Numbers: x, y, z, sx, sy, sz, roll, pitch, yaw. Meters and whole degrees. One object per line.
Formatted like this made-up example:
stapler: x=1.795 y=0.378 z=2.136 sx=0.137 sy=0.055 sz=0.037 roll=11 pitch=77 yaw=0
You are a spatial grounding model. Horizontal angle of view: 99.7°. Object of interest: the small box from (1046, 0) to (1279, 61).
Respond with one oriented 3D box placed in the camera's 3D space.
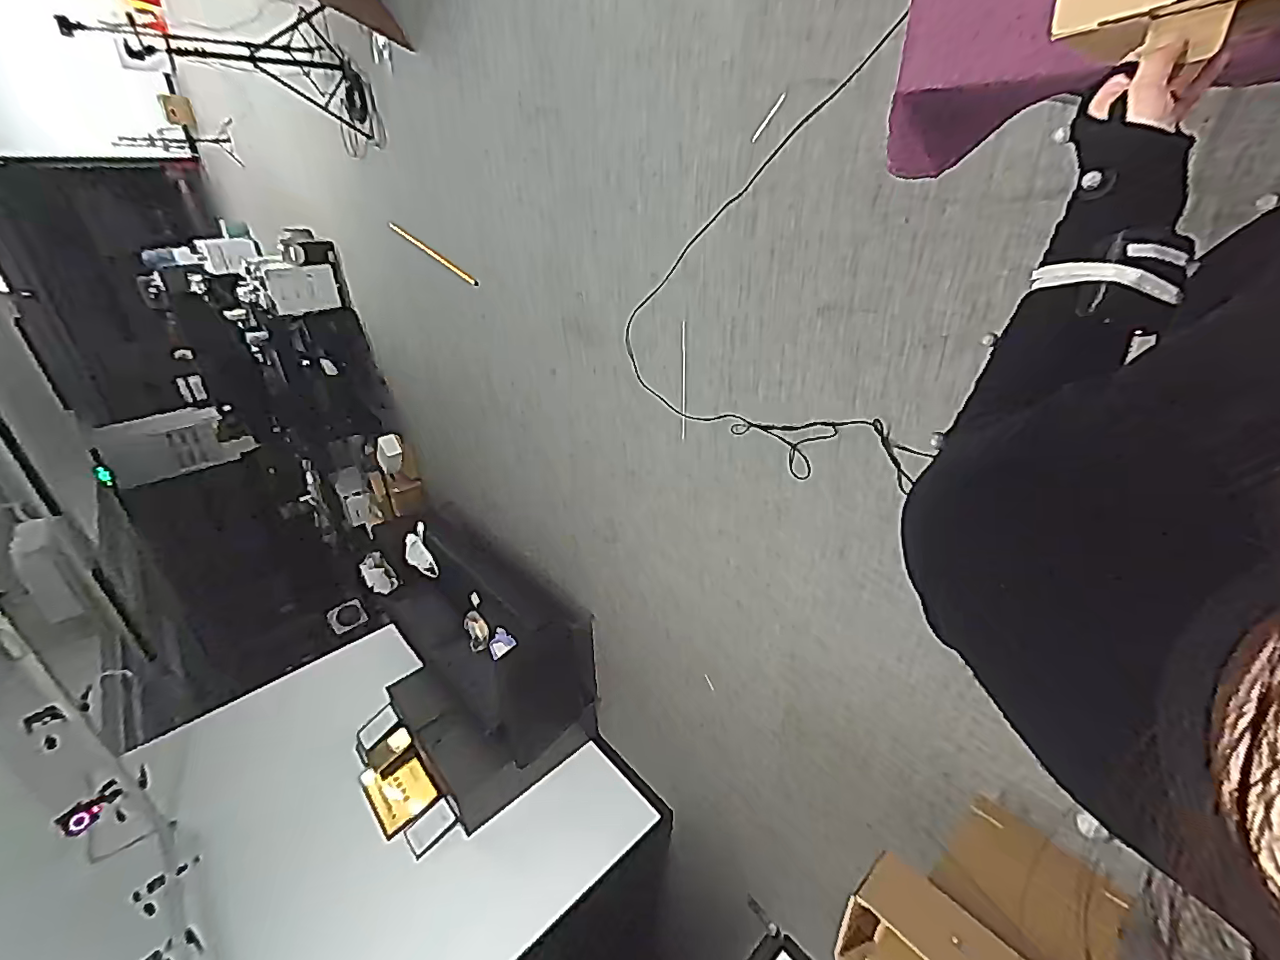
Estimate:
small box: x=0.437 y=-0.433 z=0.395 sx=0.168 sy=0.176 sz=0.179 roll=22 pitch=125 yaw=44
